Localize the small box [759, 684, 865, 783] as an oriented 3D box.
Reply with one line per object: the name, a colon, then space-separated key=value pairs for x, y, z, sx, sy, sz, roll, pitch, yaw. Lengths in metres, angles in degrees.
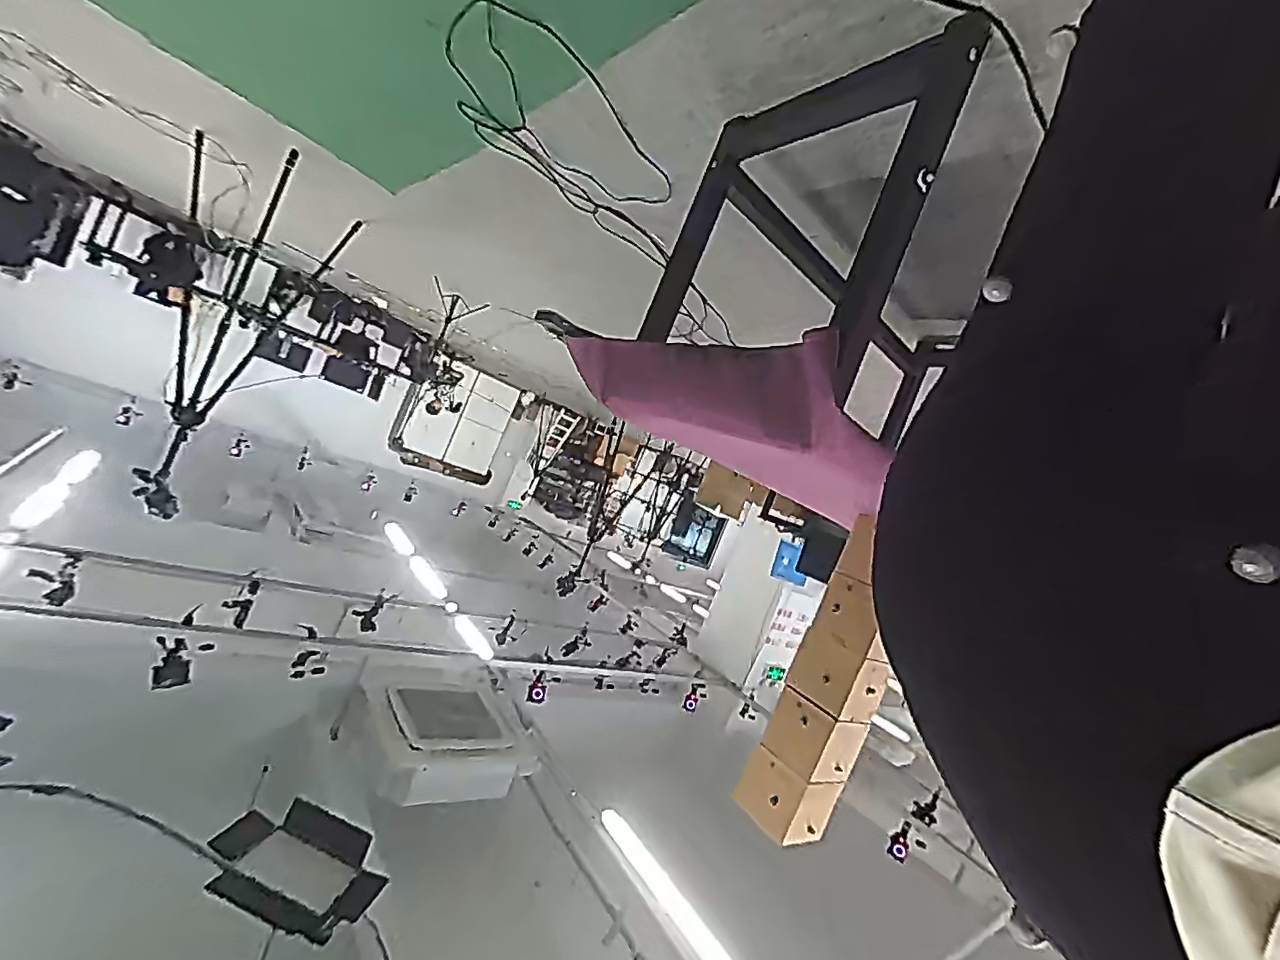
small box: x=0.449 y=0.650 z=1.399 sx=0.179 sy=0.176 sz=0.168 roll=25 pitch=179 yaw=-37

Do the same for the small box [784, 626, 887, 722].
small box: x=0.514 y=0.499 z=1.403 sx=0.168 sy=0.176 sz=0.179 roll=24 pitch=179 yaw=-37

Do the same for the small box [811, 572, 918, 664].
small box: x=0.582 y=0.351 z=1.399 sx=0.179 sy=0.176 sz=0.168 roll=23 pitch=180 yaw=-38

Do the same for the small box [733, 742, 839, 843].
small box: x=0.379 y=0.797 z=1.399 sx=0.179 sy=0.176 sz=0.168 roll=23 pitch=180 yaw=-37
